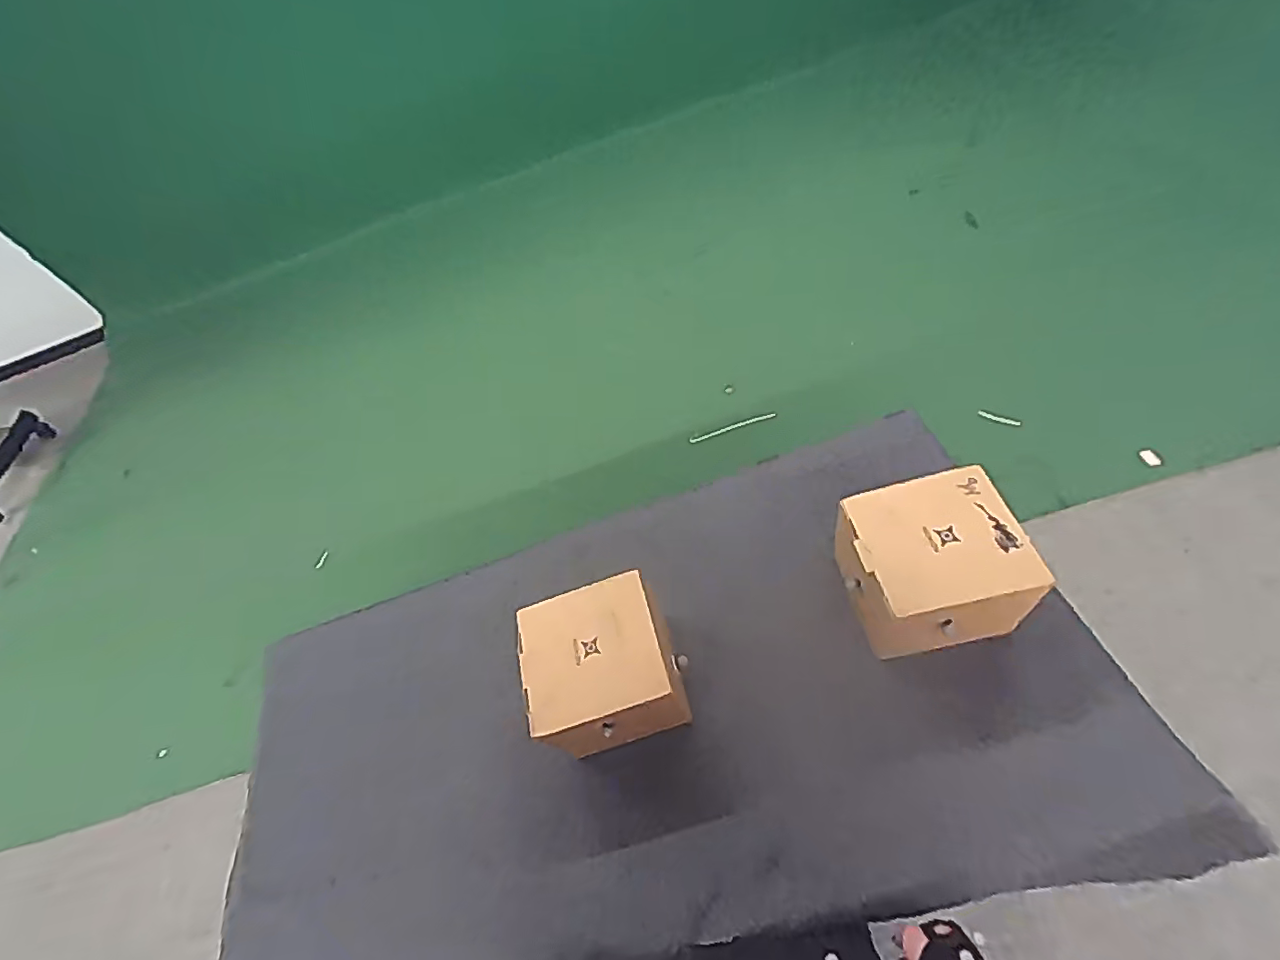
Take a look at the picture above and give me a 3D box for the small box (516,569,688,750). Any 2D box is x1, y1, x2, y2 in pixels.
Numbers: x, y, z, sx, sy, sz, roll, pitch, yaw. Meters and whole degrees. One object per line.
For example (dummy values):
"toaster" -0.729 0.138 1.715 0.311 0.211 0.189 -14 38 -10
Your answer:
"small box" -0.047 0.251 0.735 0.179 0.176 0.168 -19 55 2

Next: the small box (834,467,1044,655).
"small box" 0.365 0.113 0.703 0.179 0.176 0.168 -15 55 7
